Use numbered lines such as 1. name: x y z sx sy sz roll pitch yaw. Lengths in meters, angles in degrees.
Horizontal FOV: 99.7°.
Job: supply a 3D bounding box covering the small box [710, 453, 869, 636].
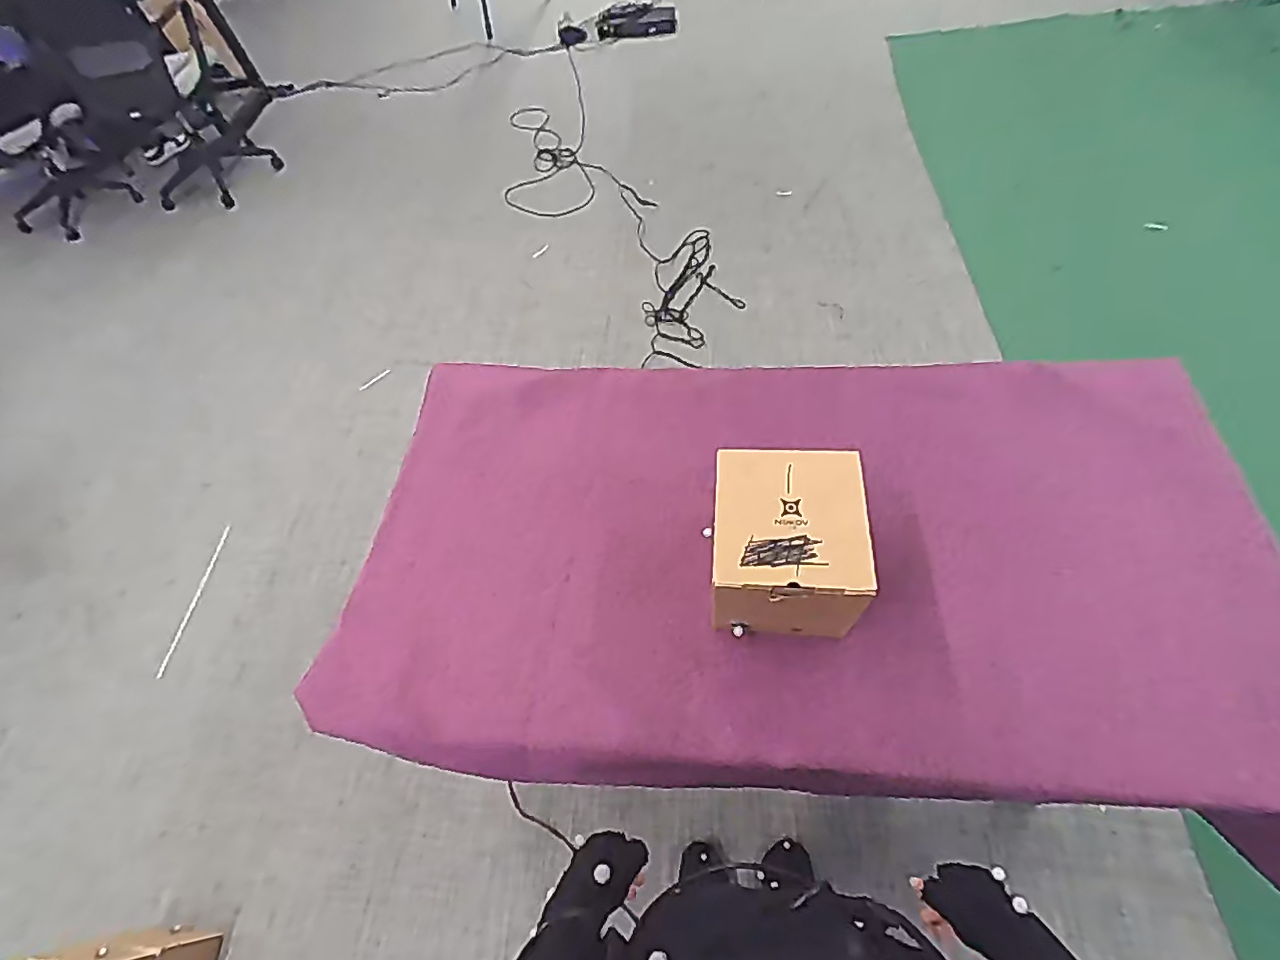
1. small box: 0.175 0.085 0.674 0.168 0.176 0.179 2 58 9
